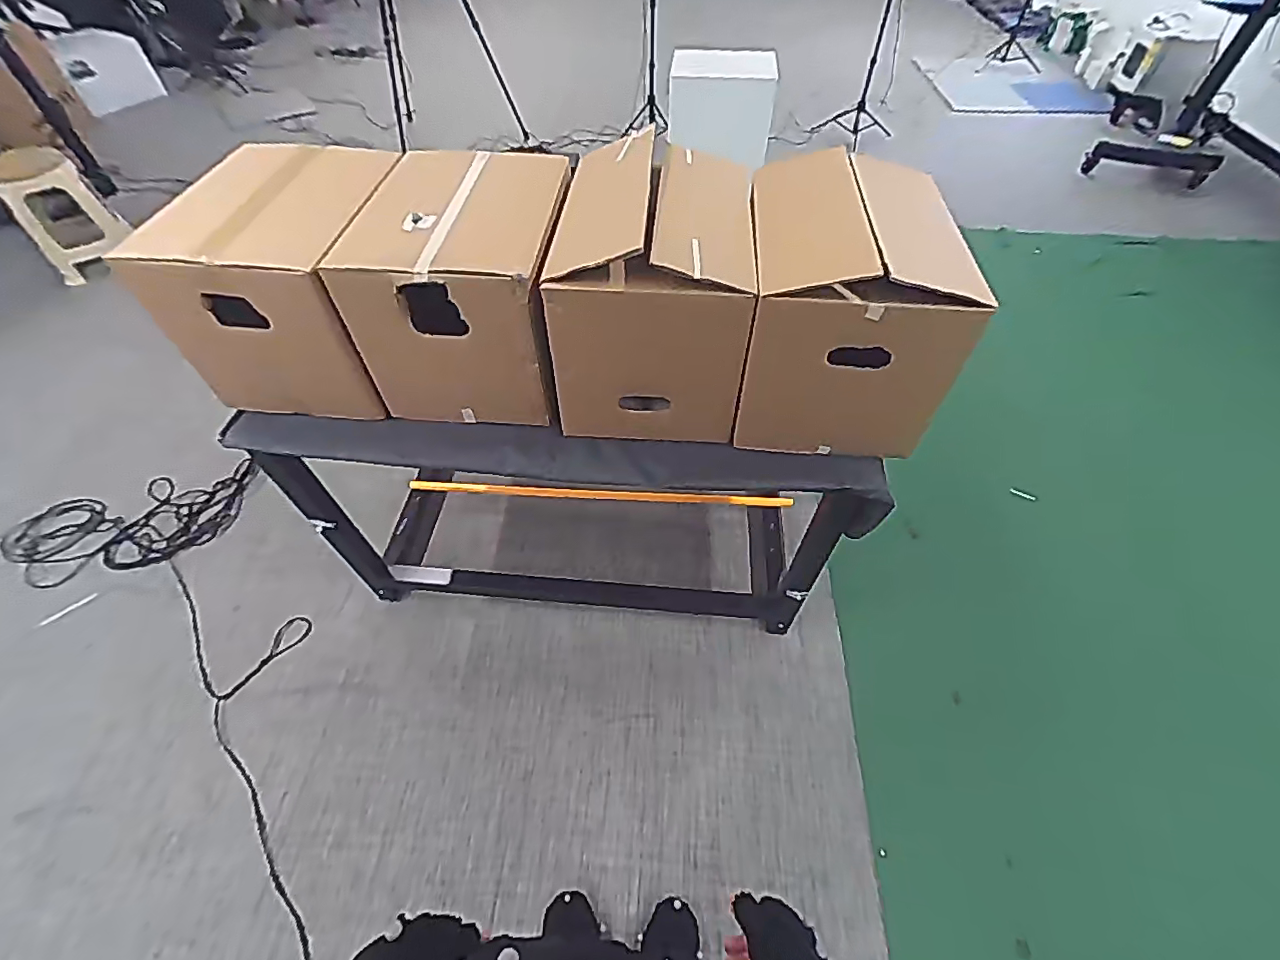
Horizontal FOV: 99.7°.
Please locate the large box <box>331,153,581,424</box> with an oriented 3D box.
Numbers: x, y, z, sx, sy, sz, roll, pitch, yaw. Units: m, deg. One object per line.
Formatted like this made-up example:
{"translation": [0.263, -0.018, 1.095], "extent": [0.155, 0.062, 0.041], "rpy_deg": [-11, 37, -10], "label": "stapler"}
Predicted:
{"translation": [-0.292, -0.360, 1.019], "extent": [0.320, 0.320, 0.408], "rpy_deg": [3, 53, 3], "label": "large box"}
